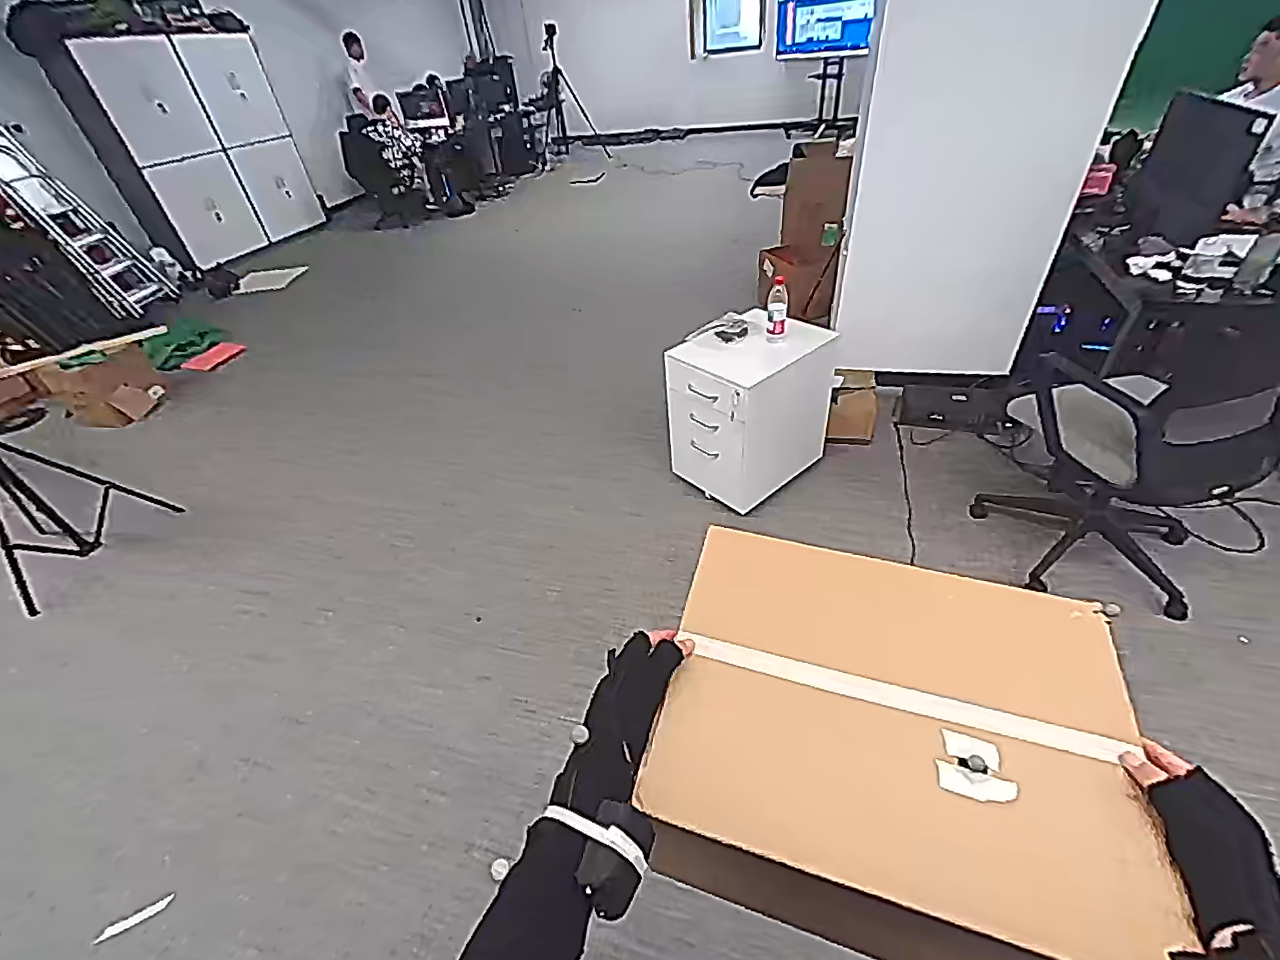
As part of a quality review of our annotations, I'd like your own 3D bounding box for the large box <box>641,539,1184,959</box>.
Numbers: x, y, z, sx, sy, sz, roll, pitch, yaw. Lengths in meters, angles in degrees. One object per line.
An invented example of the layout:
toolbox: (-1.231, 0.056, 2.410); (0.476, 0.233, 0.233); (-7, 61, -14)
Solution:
large box: (0.236, 0.313, 0.618); (0.408, 0.320, 0.320); (11, 49, 14)
